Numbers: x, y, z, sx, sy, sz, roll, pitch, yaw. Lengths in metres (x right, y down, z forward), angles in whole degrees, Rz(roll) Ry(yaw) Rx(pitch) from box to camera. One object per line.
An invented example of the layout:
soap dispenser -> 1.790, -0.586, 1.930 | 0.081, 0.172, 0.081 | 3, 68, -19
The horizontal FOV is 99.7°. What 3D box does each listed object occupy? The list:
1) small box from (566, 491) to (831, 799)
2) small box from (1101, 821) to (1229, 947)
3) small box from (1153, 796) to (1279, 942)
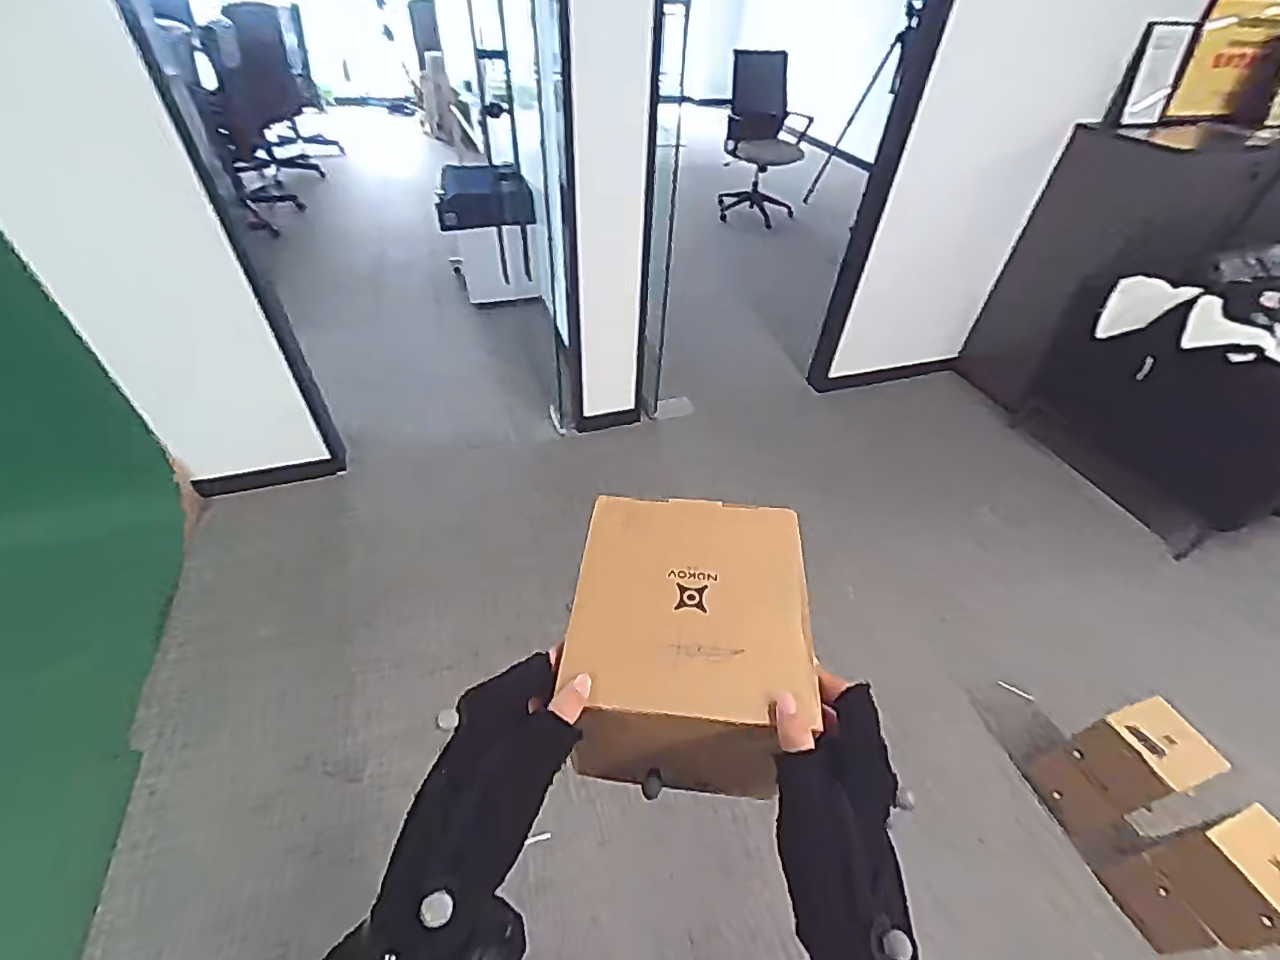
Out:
small box -> 0.043, 0.133, 0.441 | 0.168, 0.176, 0.179 | 5, 48, 5
small box -> 1.179, 0.880, 1.180 | 0.179, 0.176, 0.168 | -12, 46, -16
small box -> 1.192, 0.766, 1.064 | 0.168, 0.176, 0.179 | -13, 47, -16
